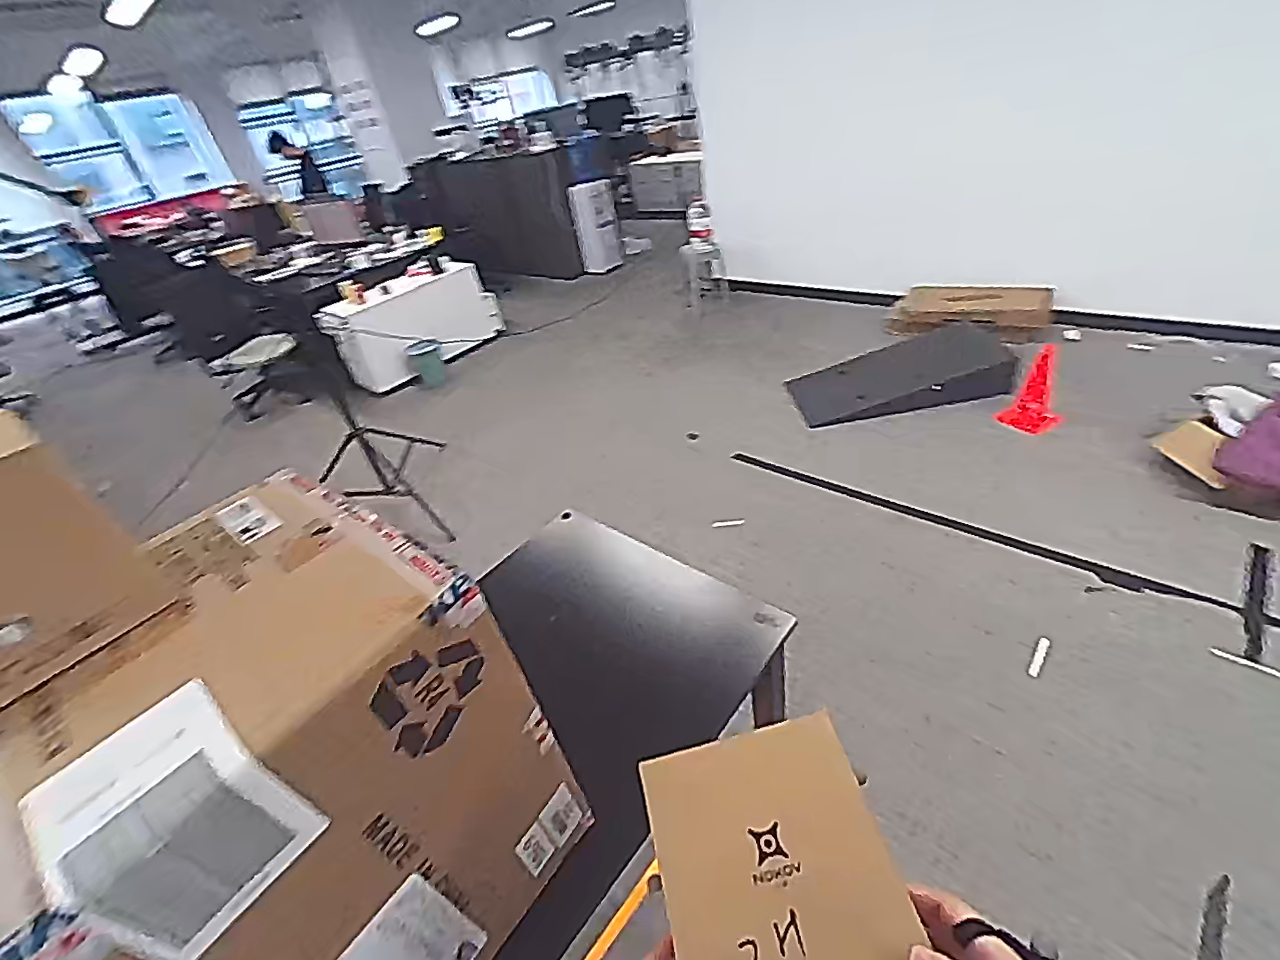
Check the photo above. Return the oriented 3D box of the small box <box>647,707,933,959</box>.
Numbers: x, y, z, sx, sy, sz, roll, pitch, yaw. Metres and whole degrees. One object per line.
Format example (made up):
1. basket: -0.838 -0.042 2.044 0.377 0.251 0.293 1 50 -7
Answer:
1. small box: 0.110 0.328 0.461 0.168 0.176 0.179 -15 46 0

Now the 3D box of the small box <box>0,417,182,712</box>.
1. small box: -0.541 0.068 0.449 0.179 0.176 0.168 15 42 34
